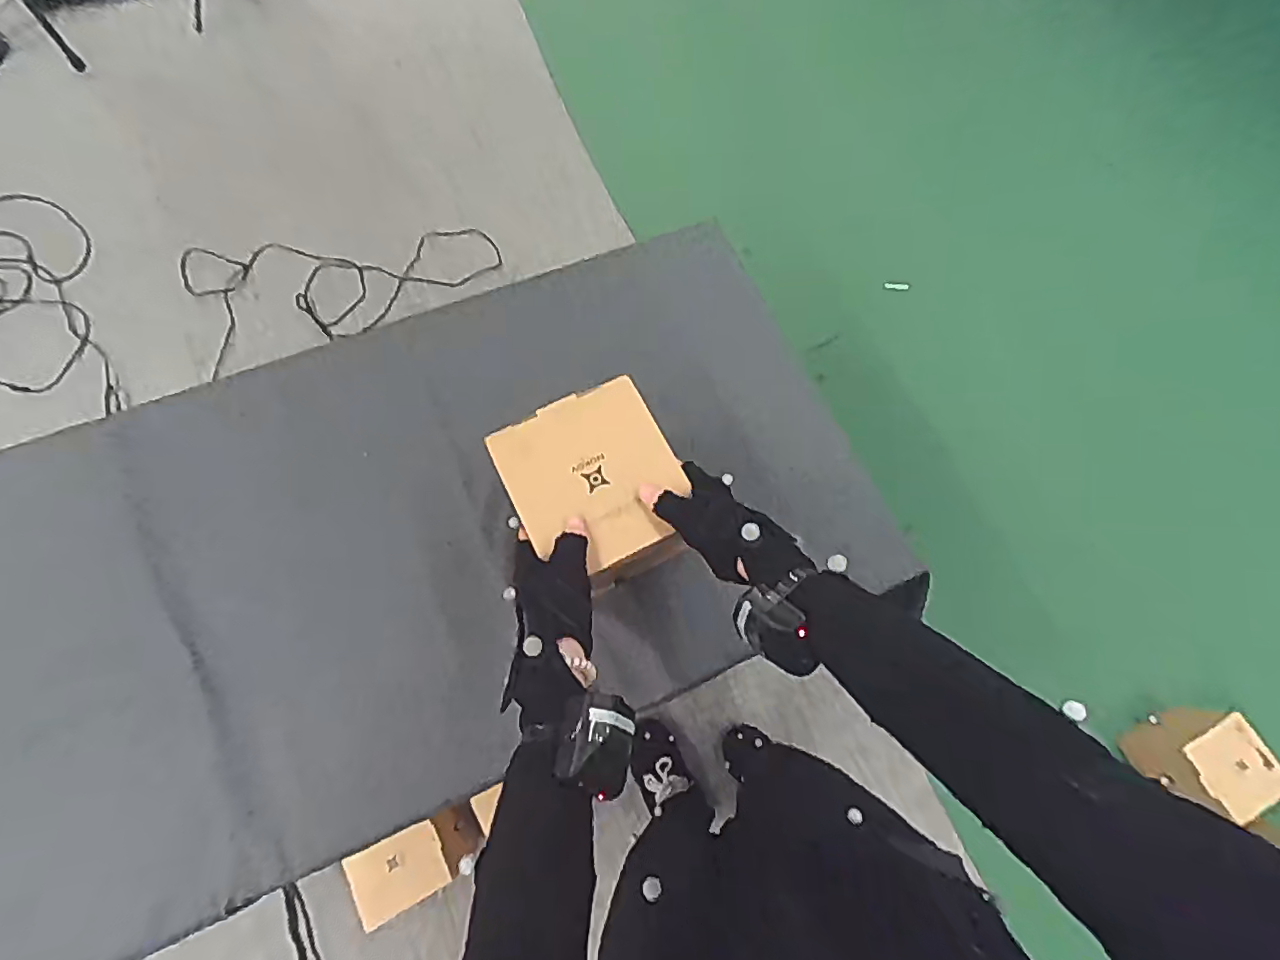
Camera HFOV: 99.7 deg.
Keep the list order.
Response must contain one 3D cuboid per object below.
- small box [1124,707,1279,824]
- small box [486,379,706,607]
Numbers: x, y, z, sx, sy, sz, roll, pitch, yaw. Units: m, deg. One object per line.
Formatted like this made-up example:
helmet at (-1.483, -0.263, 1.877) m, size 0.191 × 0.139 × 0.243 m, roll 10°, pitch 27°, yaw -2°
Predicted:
small box at (1.261, 0.634, 1.222) m, size 0.179 × 0.176 × 0.168 m, roll -23°, pitch 74°, yaw -9°
small box at (-0.048, 0.024, 0.602) m, size 0.168 × 0.176 × 0.179 m, roll -25°, pitch 75°, yaw -10°
